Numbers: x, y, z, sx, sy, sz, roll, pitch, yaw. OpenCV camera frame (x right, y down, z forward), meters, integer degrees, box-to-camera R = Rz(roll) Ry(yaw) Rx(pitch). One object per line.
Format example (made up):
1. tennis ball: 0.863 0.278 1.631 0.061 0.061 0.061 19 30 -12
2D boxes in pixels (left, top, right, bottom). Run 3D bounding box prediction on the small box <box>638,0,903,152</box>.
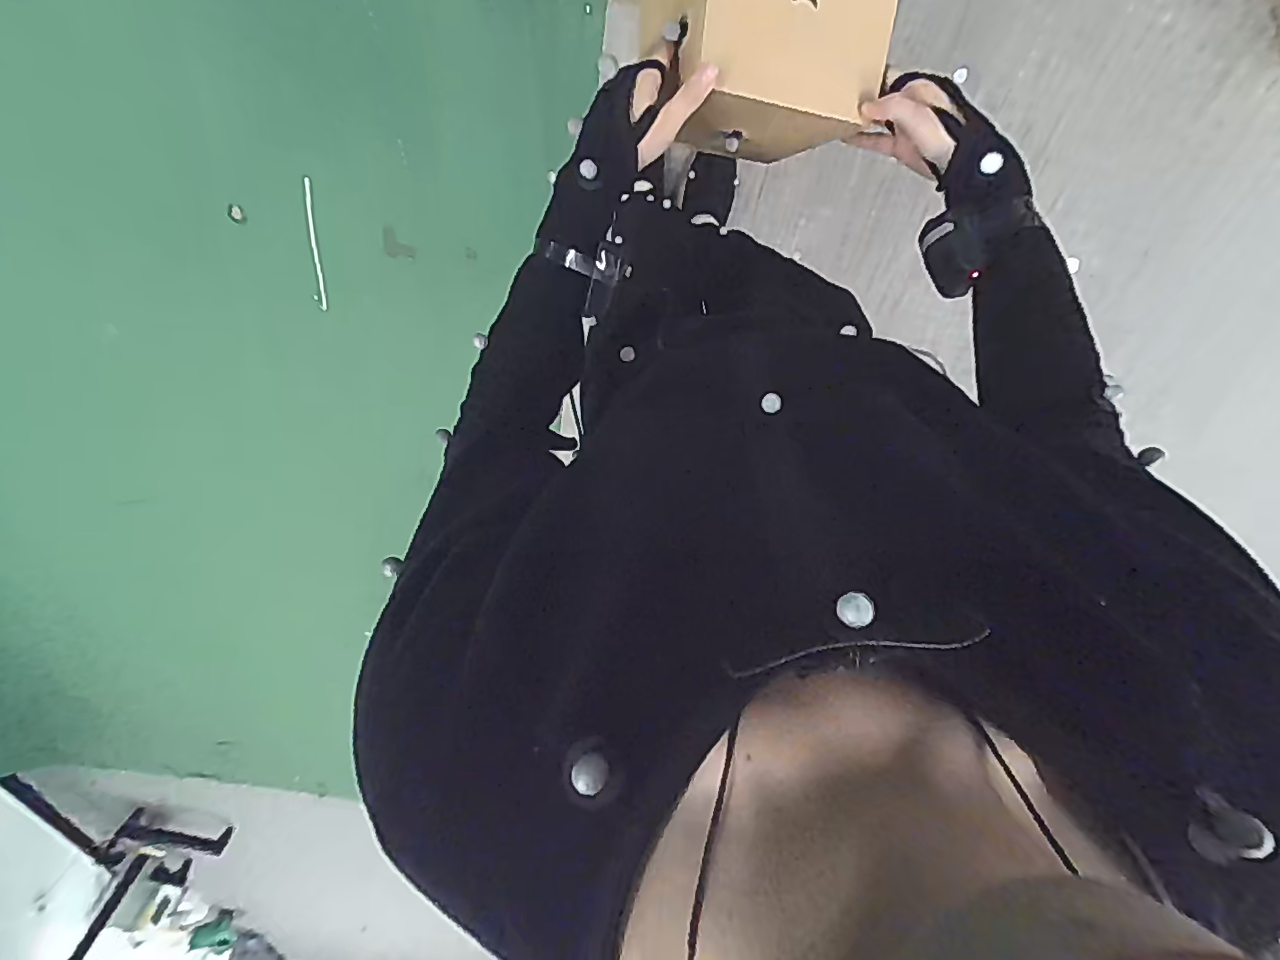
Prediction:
1. small box: 0.105 -0.409 0.470 0.168 0.176 0.179 -1 109 -20
